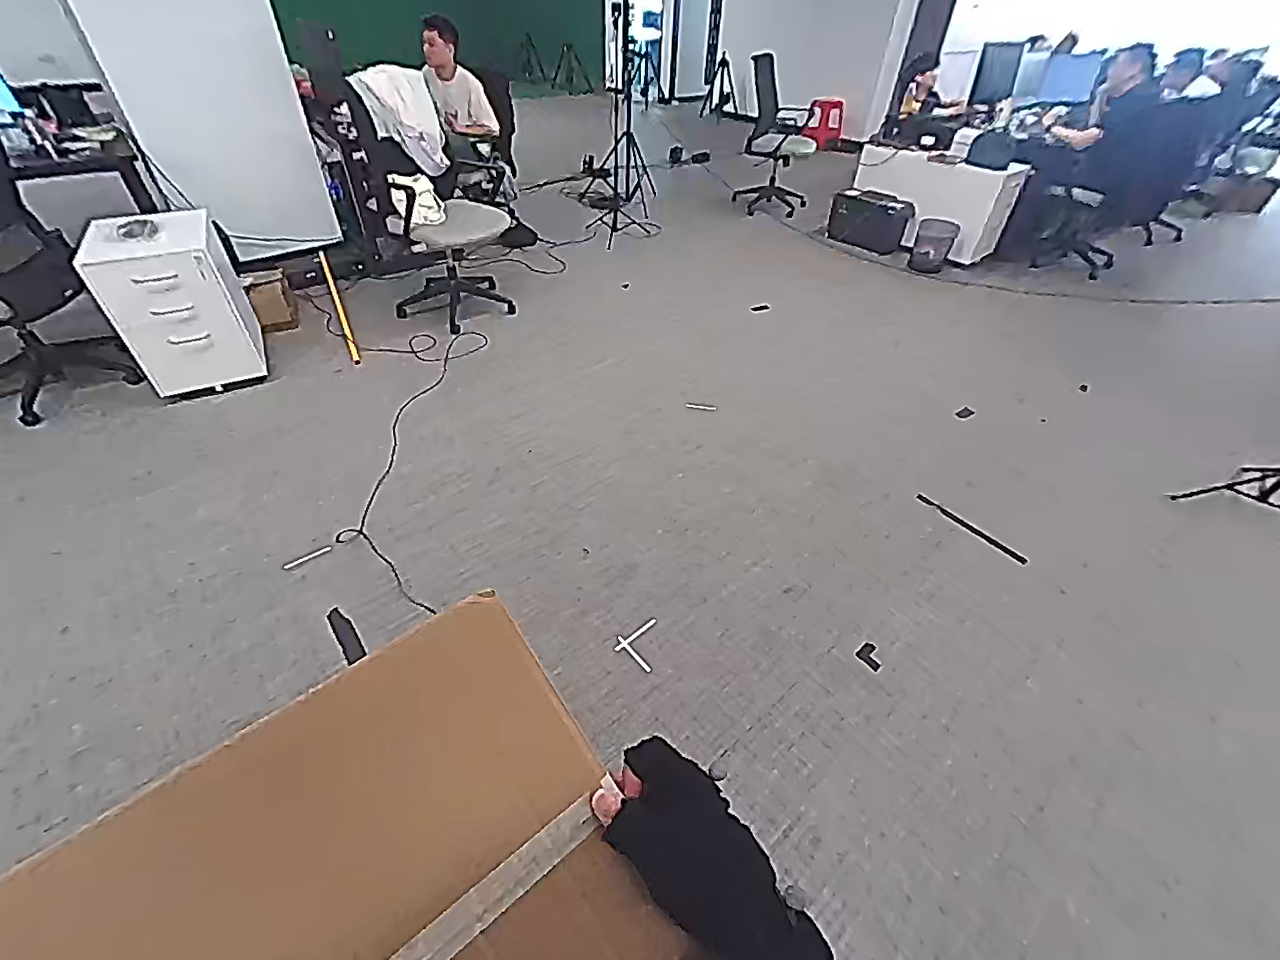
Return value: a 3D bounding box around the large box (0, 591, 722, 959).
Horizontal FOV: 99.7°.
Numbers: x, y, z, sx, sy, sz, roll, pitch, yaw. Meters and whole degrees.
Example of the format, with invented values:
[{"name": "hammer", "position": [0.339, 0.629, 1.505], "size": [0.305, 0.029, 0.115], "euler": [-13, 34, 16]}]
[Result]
[{"name": "large box", "position": [-0.218, 0.345, 0.409], "size": [0.408, 0.320, 0.320], "euler": [-31, 82, -25]}]
